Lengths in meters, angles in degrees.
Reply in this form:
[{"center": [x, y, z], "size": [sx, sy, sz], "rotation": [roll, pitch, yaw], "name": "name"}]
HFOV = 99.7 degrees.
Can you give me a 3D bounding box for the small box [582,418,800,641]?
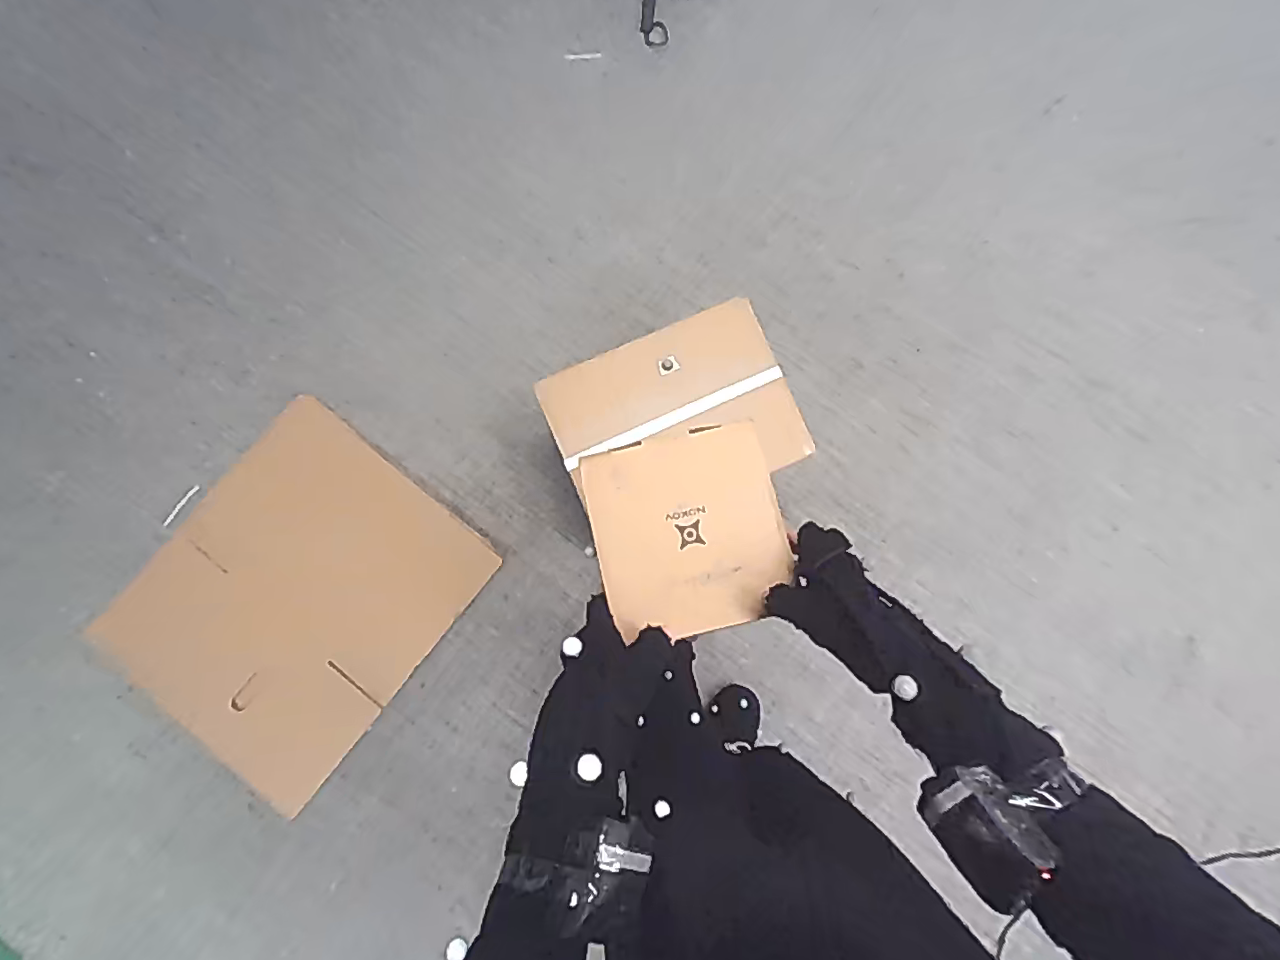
[{"center": [0.044, 0.057, 0.567], "size": [0.168, 0.176, 0.179], "rotation": [-14, 79, -1], "name": "small box"}]
